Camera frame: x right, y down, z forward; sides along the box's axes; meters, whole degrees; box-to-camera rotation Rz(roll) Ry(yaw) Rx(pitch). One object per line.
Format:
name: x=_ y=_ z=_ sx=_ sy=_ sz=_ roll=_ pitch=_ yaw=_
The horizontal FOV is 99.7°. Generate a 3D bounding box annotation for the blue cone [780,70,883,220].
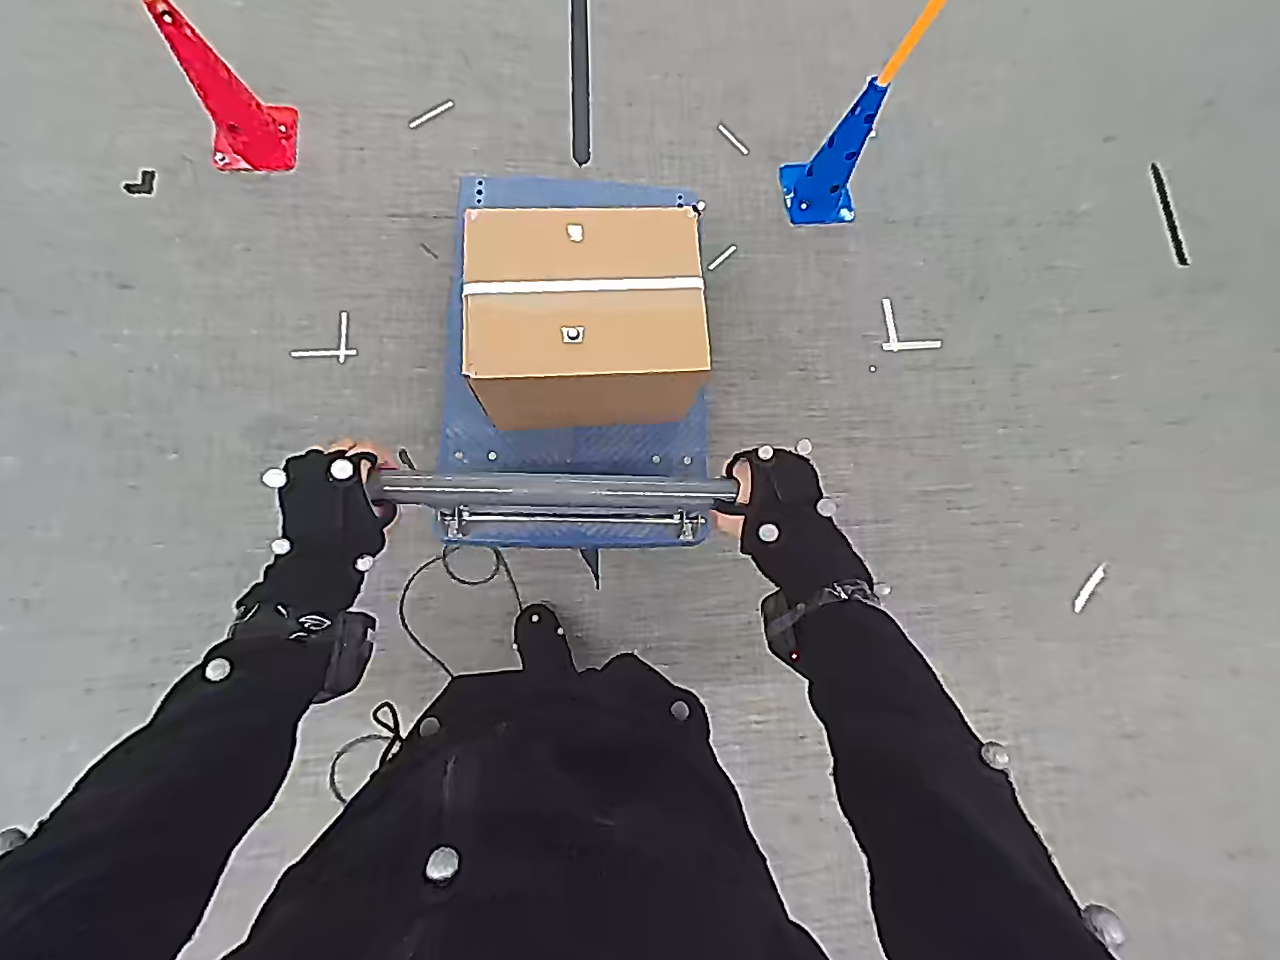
blue cone: x=0.531 y=-0.881 z=1.425 sx=0.193 sy=0.380 sz=0.192 roll=-6 pitch=78 yaw=-7
